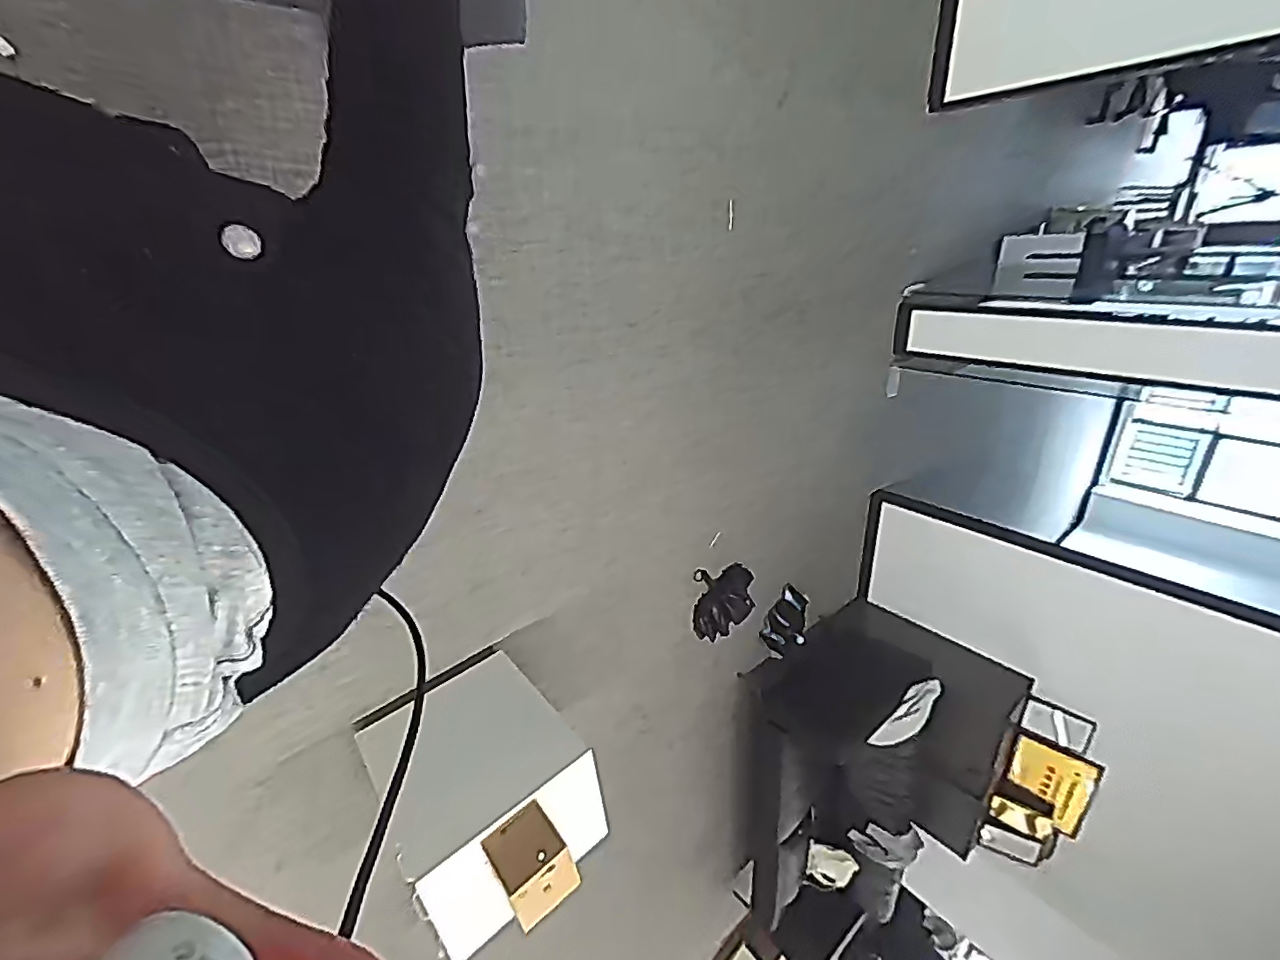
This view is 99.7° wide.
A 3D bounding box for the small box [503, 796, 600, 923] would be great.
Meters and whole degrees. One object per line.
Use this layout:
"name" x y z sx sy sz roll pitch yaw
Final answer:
"small box" -0.226 0.961 1.384 0.168 0.176 0.179 -29 125 -31
